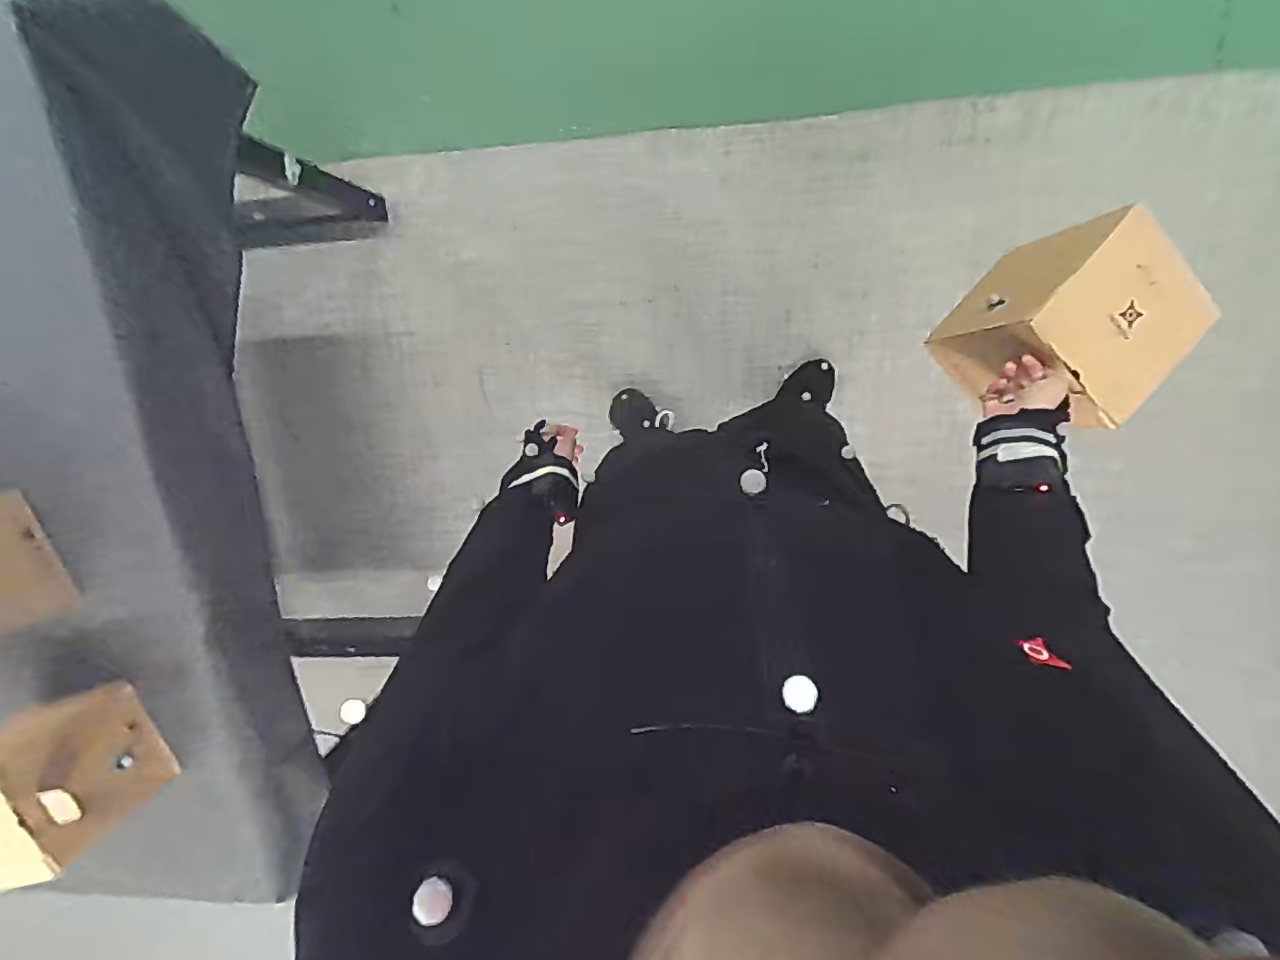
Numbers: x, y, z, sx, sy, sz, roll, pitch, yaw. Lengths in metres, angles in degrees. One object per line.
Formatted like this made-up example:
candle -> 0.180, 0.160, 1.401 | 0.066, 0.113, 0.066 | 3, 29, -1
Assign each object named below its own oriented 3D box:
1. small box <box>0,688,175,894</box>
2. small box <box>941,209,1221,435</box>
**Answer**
small box -> -0.792, 0.408, 0.719 | 0.179, 0.176, 0.168 | -17, 101, 9
small box -> 0.501, -0.171, 0.645 | 0.168, 0.176, 0.179 | 44, 87, -12
